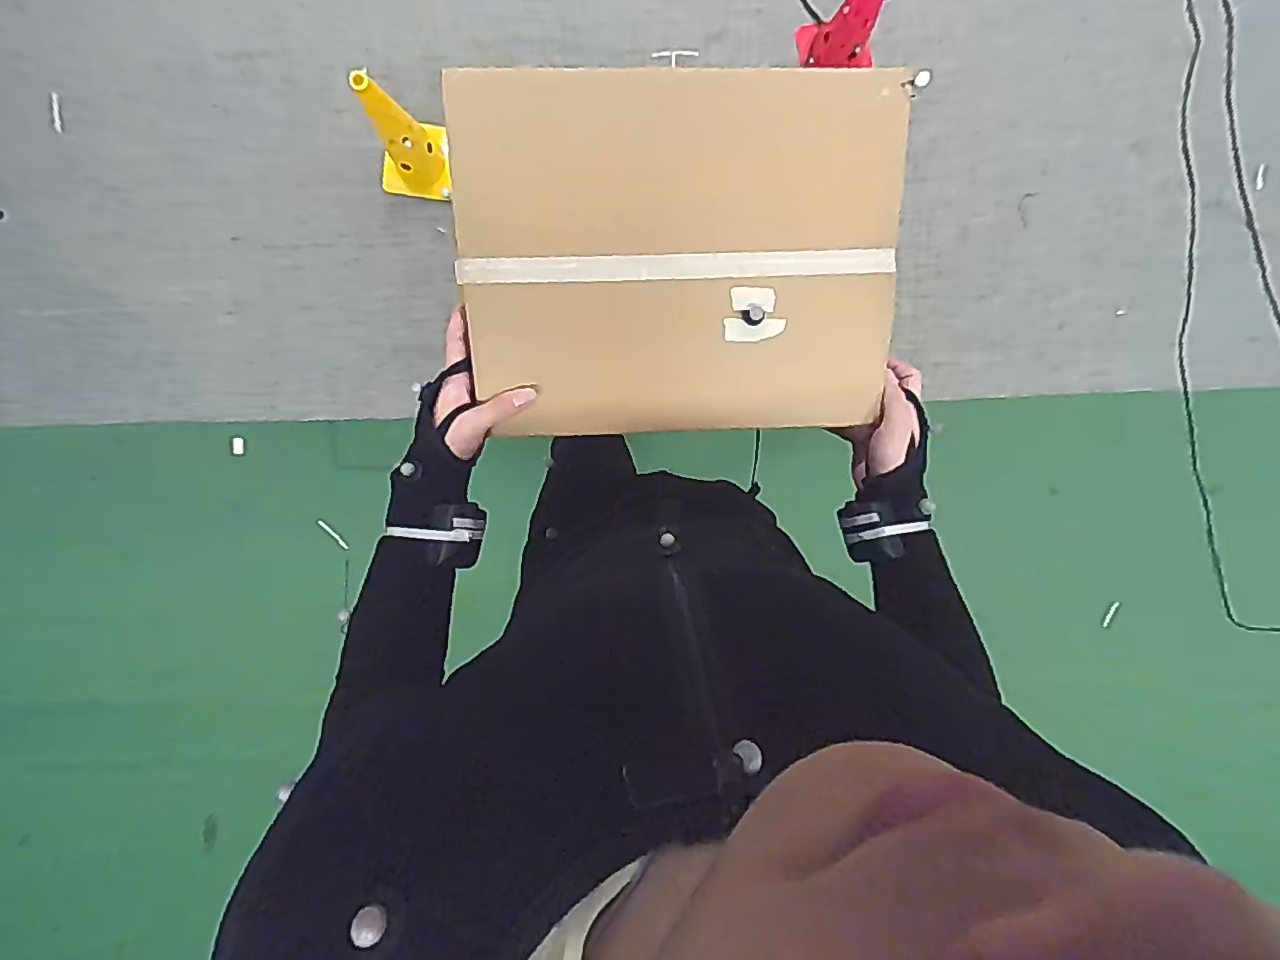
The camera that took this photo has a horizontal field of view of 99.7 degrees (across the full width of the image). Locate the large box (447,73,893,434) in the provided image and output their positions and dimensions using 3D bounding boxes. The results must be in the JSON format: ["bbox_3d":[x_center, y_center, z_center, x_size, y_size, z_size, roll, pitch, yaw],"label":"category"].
[{"bbox_3d":[0.025,-0.244,0.655,0.408,0.320,0.320,-3,106,-4],"label":"large box"}]
